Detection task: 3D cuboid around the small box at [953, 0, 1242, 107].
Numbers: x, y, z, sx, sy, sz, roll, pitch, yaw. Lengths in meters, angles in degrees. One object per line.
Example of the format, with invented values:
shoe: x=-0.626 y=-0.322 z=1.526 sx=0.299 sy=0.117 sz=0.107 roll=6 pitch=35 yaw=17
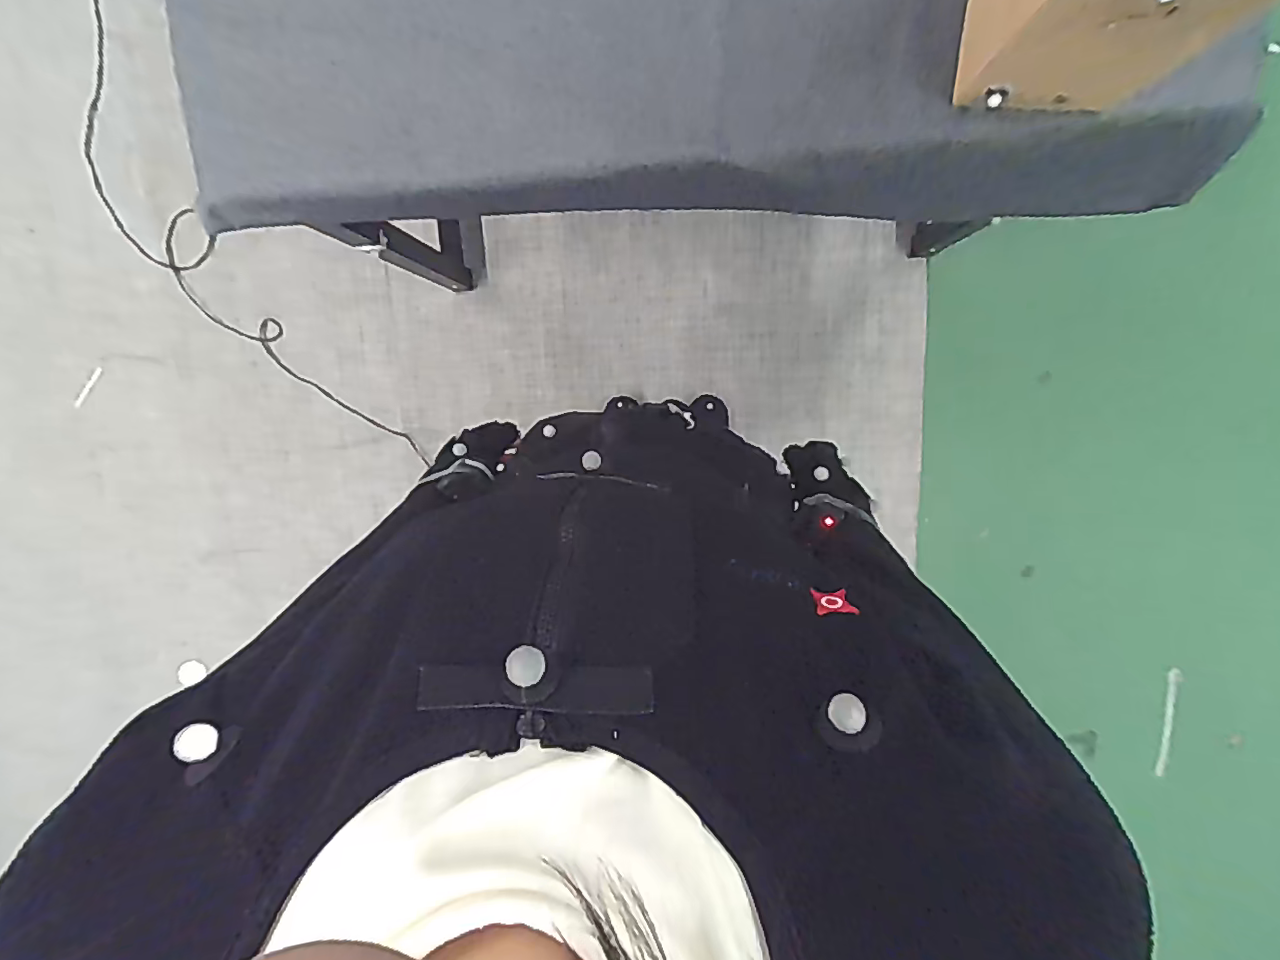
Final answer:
small box: x=0.425 y=-0.485 z=0.506 sx=0.168 sy=0.176 sz=0.179 roll=5 pitch=98 yaw=3
